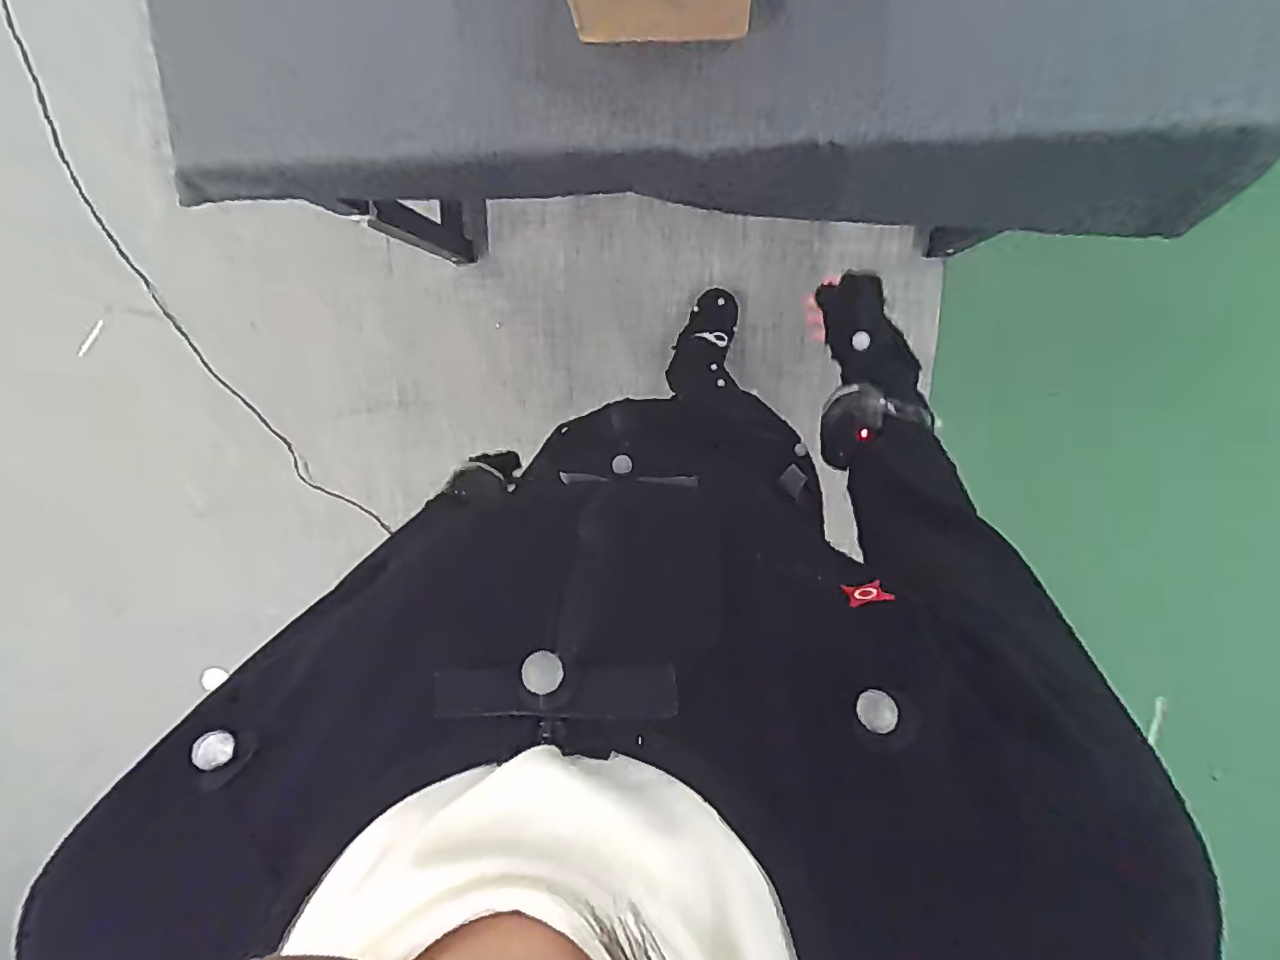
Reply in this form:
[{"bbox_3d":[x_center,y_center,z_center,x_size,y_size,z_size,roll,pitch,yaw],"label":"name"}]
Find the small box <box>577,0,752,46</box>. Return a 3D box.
[{"bbox_3d":[0.021,-0.530,0.485,0.179,0.176,0.168,0,100,5],"label":"small box"}]
